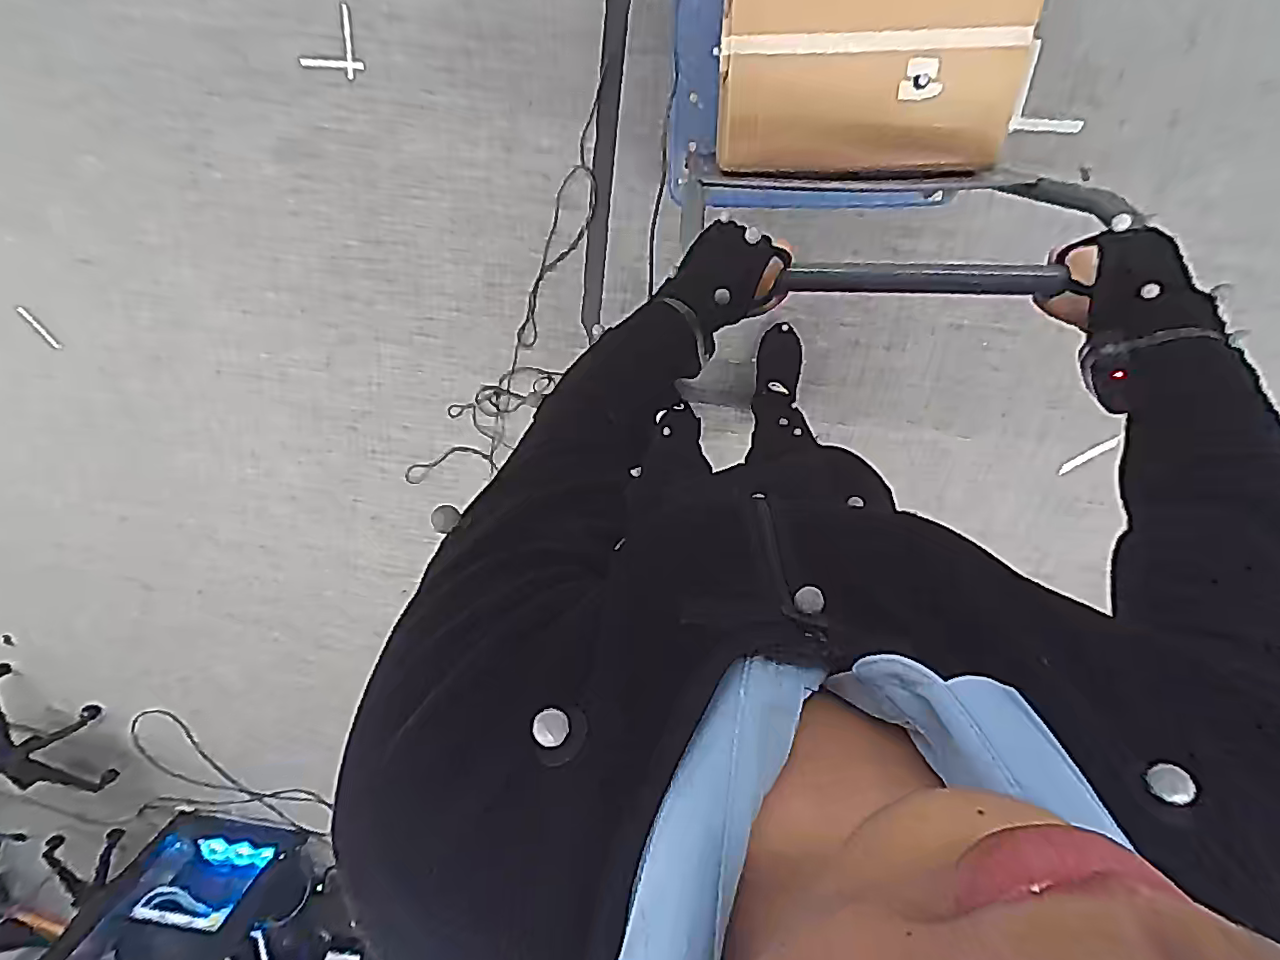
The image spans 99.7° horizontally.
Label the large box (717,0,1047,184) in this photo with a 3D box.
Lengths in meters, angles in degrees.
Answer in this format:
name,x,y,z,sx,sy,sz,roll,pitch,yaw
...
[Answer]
name,x,y,z,sx,sy,sz,roll,pitch,yaw
large box,0.334,-0.656,0.859,0.408,0.320,0.320,2,121,4
